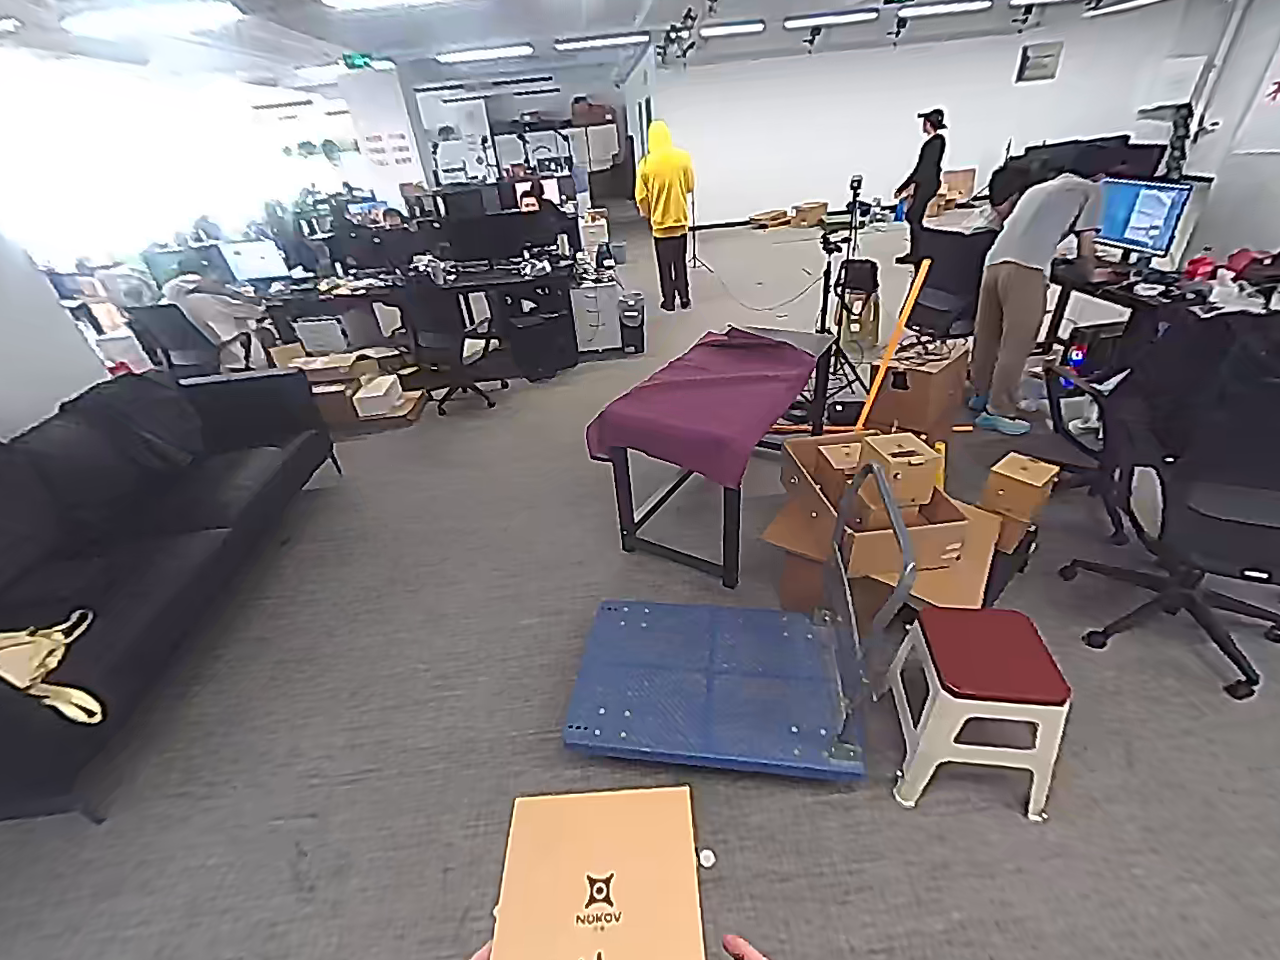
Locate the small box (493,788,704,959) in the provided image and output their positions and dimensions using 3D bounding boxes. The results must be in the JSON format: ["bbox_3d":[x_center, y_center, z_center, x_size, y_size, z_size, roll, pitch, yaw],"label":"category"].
[{"bbox_3d":[-0.027,0.411,0.492,0.168,0.176,0.179,-4,36,3],"label":"small box"}]
